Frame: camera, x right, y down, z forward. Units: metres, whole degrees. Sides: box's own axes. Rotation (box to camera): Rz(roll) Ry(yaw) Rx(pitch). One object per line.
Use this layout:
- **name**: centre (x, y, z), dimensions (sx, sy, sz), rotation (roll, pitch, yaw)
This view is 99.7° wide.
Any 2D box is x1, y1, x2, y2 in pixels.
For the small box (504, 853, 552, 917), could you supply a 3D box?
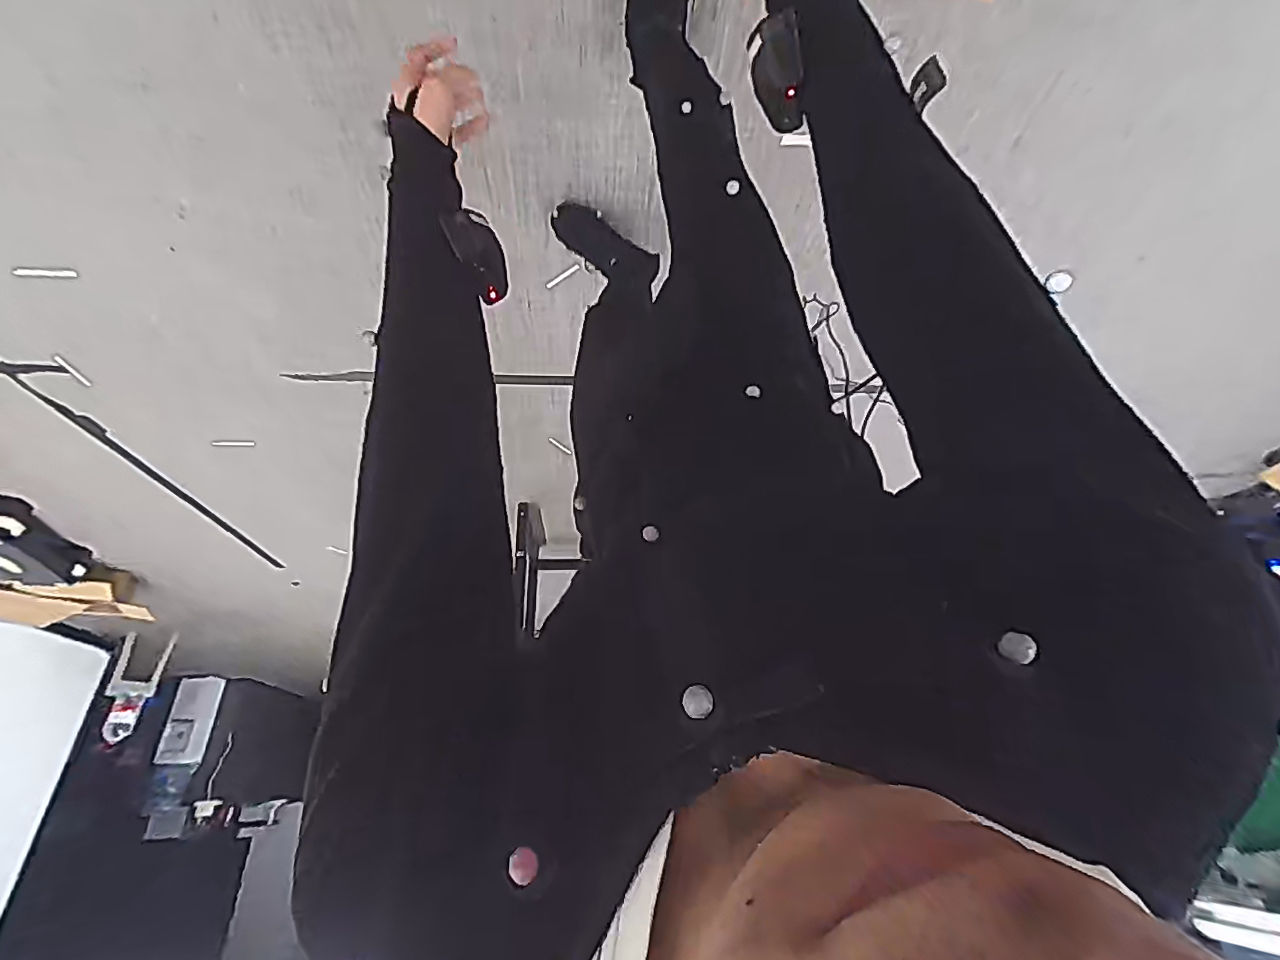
- **small box**: centre (-0.420, 1.525, 2.045), dimensions (0.168, 0.176, 0.179), rotation (1, 151, -10)

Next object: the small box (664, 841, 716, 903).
- **small box**: centre (0.188, 1.521, 2.105), dimensions (0.168, 0.176, 0.179), rotation (1, 152, -7)
